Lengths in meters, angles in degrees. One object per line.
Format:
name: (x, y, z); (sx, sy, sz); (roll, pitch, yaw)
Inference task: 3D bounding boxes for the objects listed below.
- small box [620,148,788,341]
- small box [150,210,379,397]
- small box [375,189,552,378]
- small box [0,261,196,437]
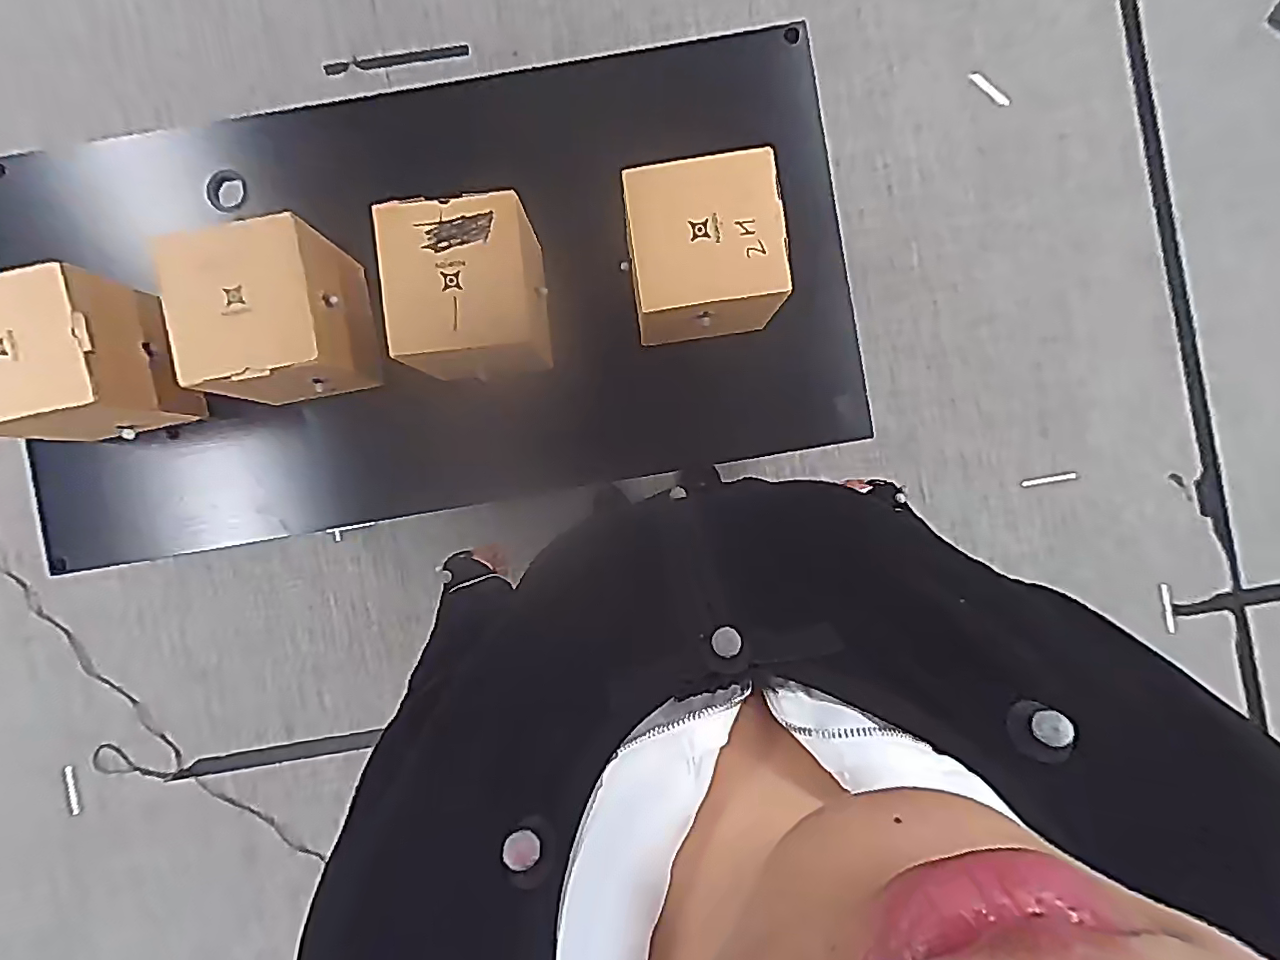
small box: (0.075, -0.286, 0.694); (0.179, 0.176, 0.168); (-8, 91, 0)
small box: (-0.461, -0.209, 0.694); (0.168, 0.176, 0.179); (-11, 90, -1)
small box: (-0.213, -0.239, 0.693); (0.168, 0.176, 0.179); (-6, 91, 0)
small box: (-0.717, -0.154, 0.690); (0.179, 0.176, 0.168); (-12, 91, -1)
